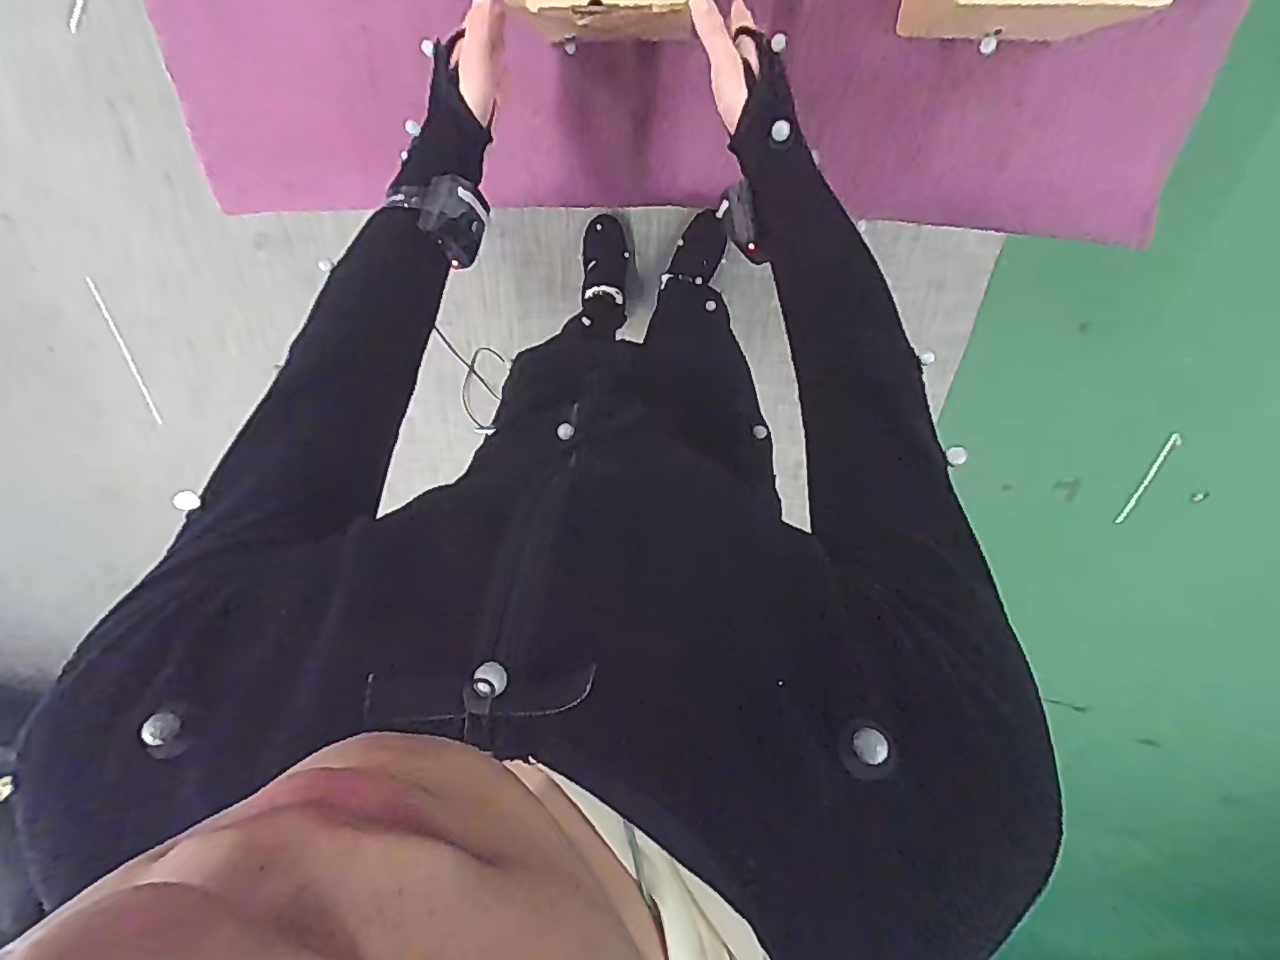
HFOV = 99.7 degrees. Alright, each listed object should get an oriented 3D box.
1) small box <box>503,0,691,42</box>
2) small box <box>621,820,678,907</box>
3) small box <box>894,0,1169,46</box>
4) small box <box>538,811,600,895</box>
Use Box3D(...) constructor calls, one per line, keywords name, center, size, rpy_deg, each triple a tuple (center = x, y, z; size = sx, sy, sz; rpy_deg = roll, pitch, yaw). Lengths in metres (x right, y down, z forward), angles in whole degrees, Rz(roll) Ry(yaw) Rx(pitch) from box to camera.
Box3D(name="small box", center=(-0.032, -0.525, 0.498), size=(0.168, 0.176, 0.179), rpy_deg=(2, 121, 4))
Box3D(name="small box", center=(0.032, 1.242, 1.753), size=(0.168, 0.176, 0.179), rpy_deg=(5, 122, 2))
Box3D(name="small box", center=(0.357, -0.501, 0.476), size=(0.179, 0.176, 0.168), rpy_deg=(4, 122, 3))
Box3D(name="small box", center=(-0.228, 1.214, 1.766), size=(0.179, 0.176, 0.168), rpy_deg=(7, 121, 2))
